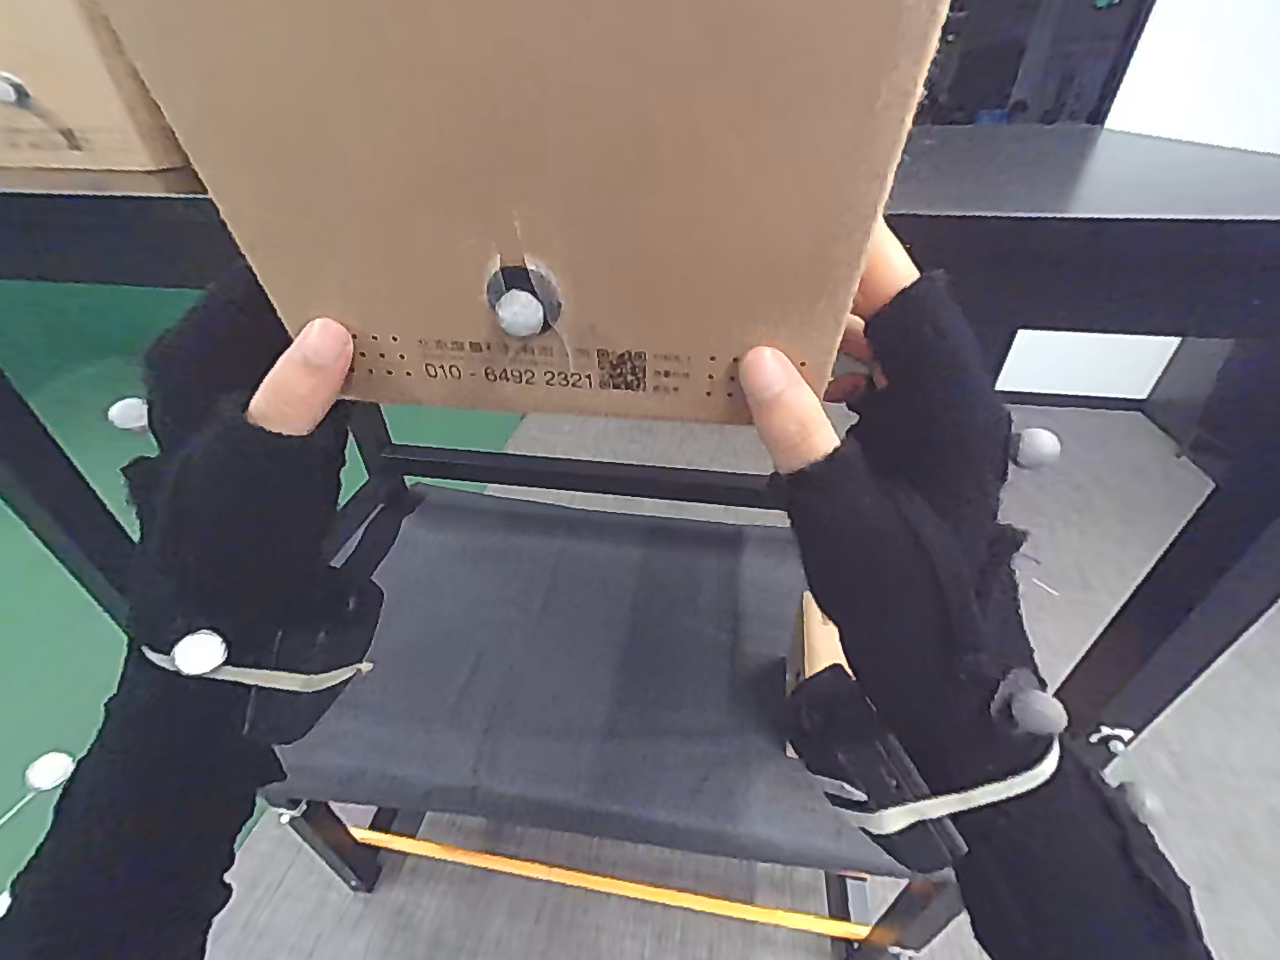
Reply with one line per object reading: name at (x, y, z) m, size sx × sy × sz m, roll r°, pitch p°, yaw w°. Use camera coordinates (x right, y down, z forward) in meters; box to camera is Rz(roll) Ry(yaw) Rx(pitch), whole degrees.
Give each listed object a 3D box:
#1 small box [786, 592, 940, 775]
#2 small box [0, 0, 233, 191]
small box at (0.310, 0.295, 0.788) m, size 0.168 × 0.176 × 0.179 m, roll 7°, pitch 36°, yaw 10°
small box at (-0.436, -0.354, 0.454) m, size 0.168 × 0.176 × 0.179 m, roll 6°, pitch 38°, yaw 9°
